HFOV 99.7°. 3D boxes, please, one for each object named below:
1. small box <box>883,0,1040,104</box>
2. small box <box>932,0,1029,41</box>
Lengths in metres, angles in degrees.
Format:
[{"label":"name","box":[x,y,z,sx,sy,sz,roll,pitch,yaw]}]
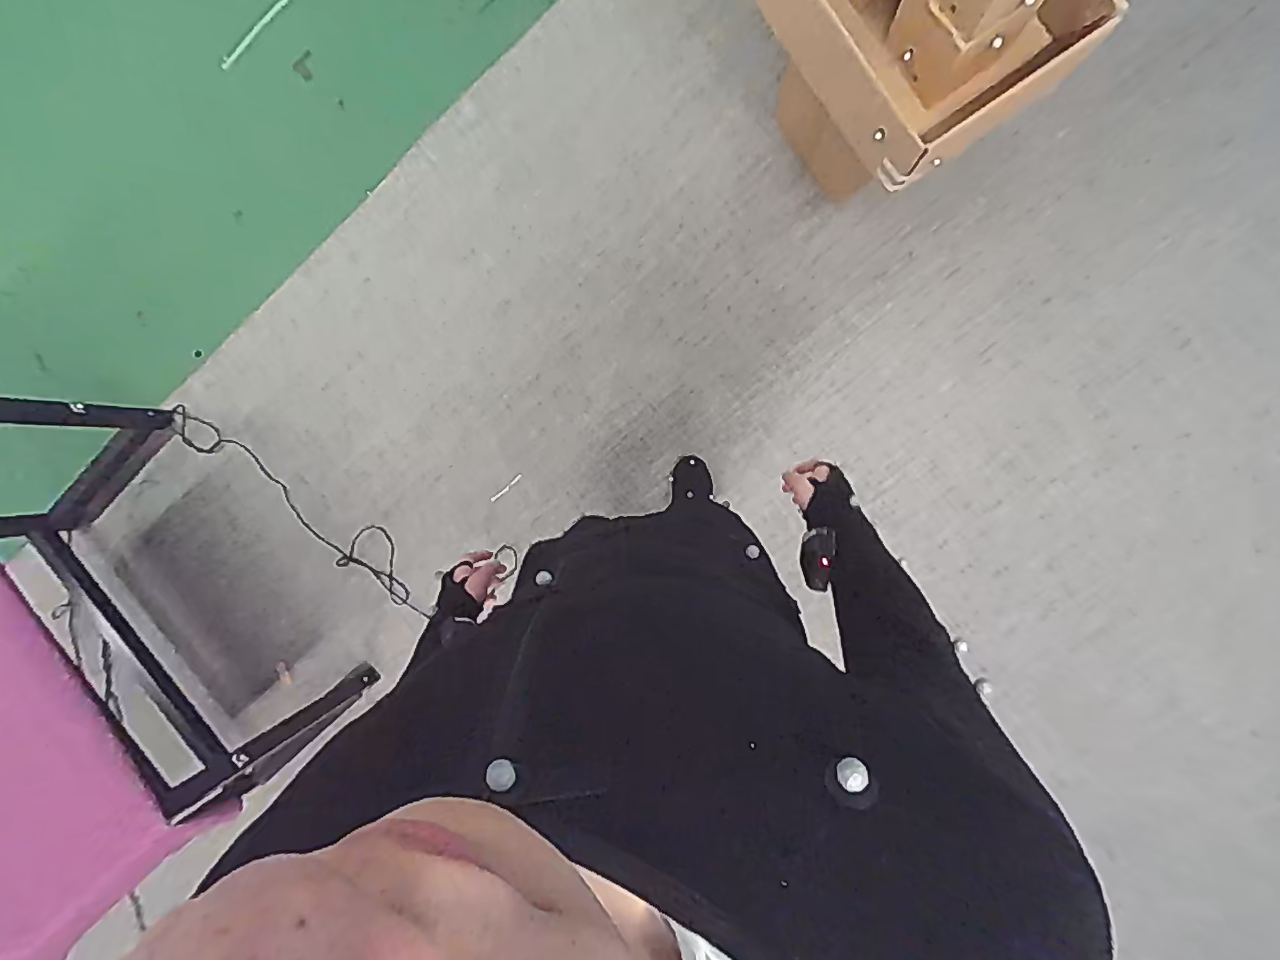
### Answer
[{"label":"small box","box":[0.594,-0.868,1.014,0.179,0.176,0.168,-33,89,9]},{"label":"small box","box":[0.580,-0.863,0.850,0.179,0.176,0.168,-31,89,8]}]
